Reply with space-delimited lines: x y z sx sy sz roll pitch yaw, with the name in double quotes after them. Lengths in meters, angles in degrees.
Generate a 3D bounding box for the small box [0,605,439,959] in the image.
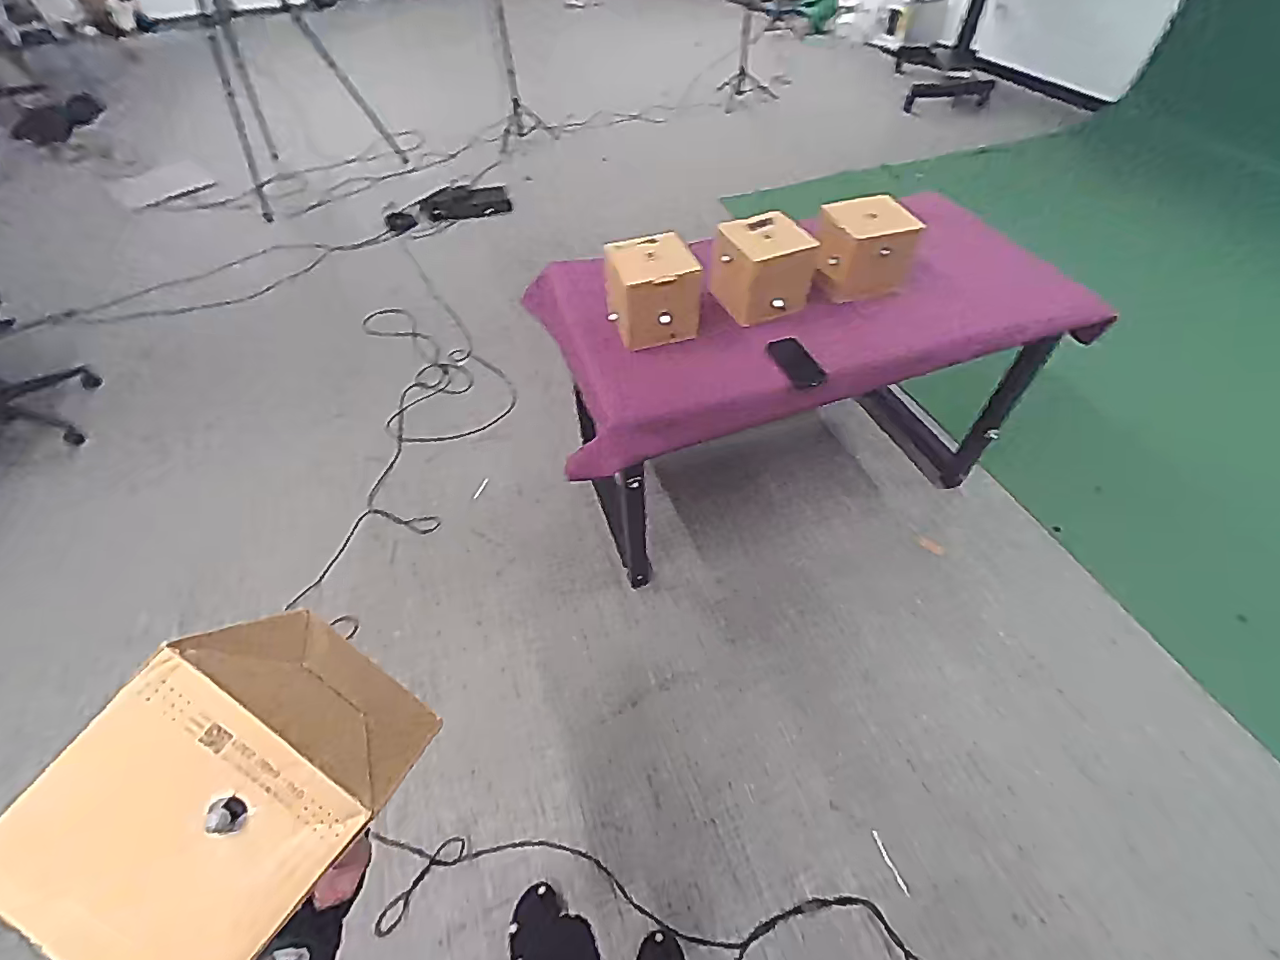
-0.280 0.214 0.406 0.168 0.179 0.176 41 80 0 "small box"

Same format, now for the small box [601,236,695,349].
0.018 -0.413 1.213 0.168 0.176 0.179 -15 53 -10 "small box"

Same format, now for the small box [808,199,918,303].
0.521 -0.547 1.301 0.179 0.176 0.168 -13 52 -8 "small box"

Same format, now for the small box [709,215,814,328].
0.272 -0.485 1.261 0.168 0.176 0.179 -19 53 -13 "small box"
